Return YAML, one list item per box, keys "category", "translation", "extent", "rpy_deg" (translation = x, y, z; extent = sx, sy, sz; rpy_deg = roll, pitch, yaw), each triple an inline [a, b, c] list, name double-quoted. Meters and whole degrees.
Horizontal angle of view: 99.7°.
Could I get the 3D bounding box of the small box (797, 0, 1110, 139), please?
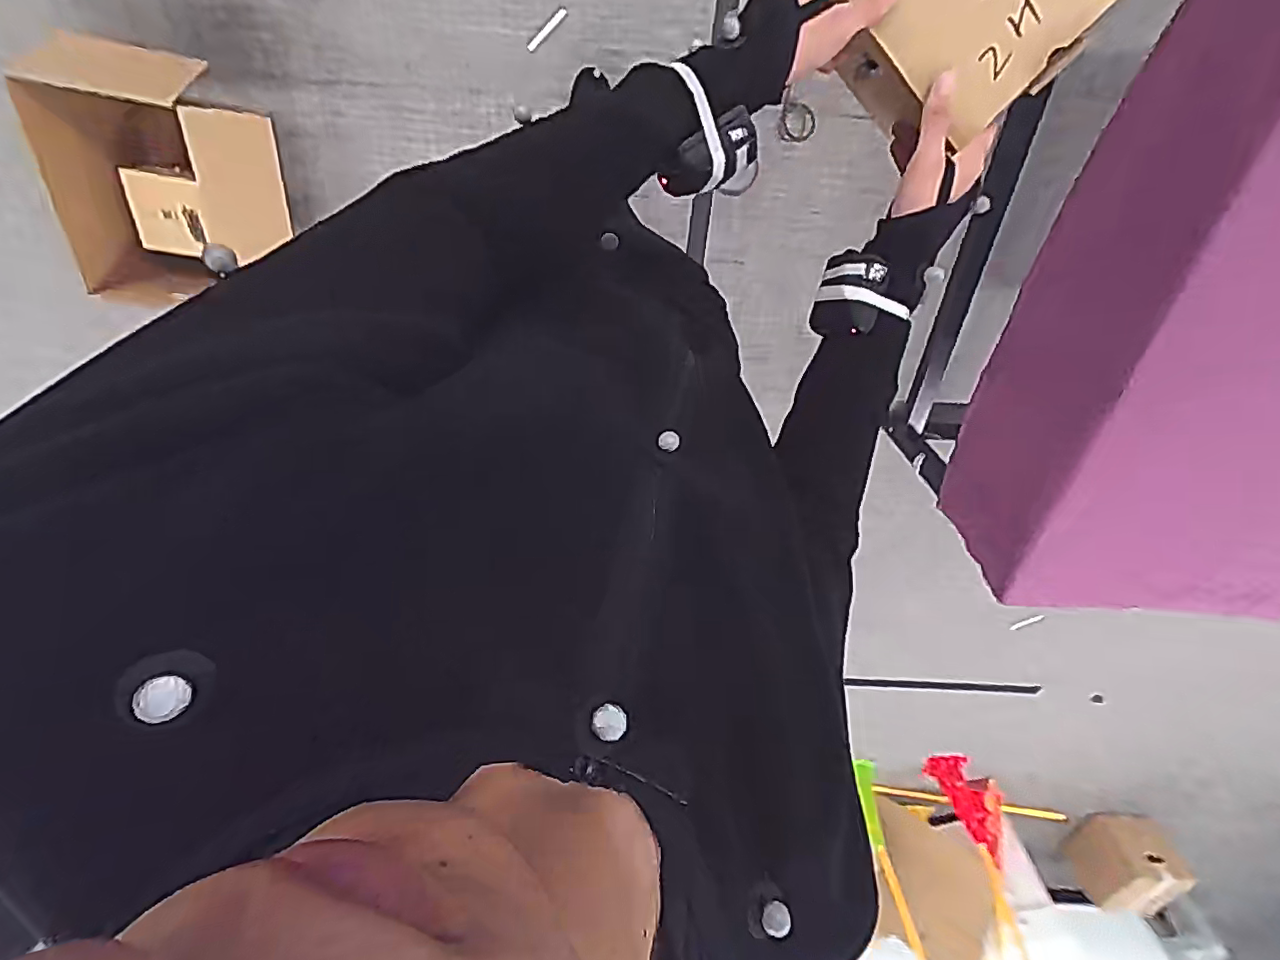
- category: "small box"
  translation: [0.253, -0.417, 0.443]
  extent: [0.179, 0.176, 0.168]
  rpy_deg: [37, 120, -20]
